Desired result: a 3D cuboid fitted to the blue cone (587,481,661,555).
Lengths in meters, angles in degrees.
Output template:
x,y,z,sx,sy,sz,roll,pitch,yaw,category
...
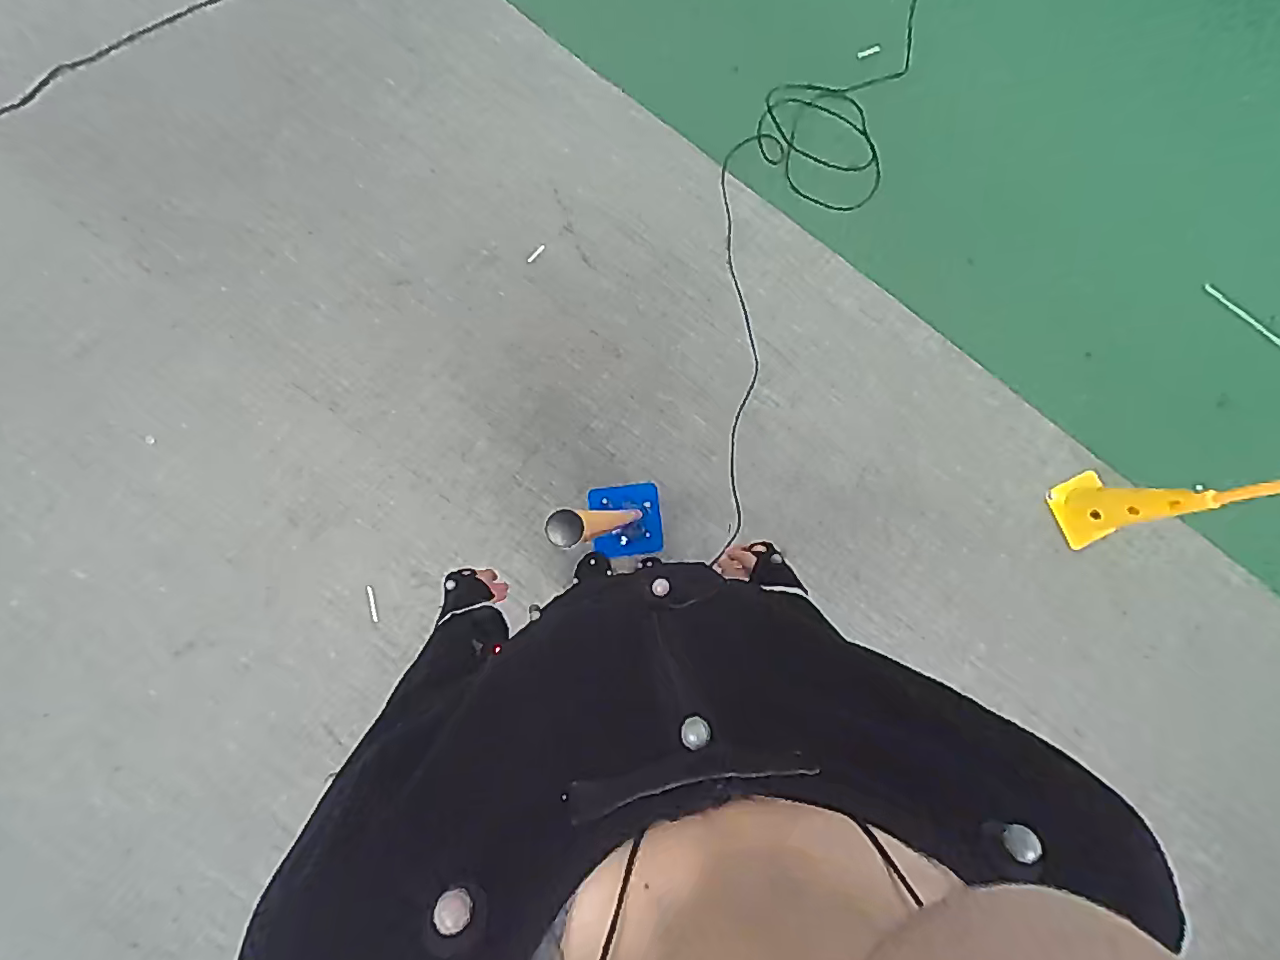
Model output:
x,y,z,sx,sy,sz,roll,pitch,yaw,category
-0.029,0.089,1.337,0.193,0.380,0.192,-8,85,-6,blue cone
